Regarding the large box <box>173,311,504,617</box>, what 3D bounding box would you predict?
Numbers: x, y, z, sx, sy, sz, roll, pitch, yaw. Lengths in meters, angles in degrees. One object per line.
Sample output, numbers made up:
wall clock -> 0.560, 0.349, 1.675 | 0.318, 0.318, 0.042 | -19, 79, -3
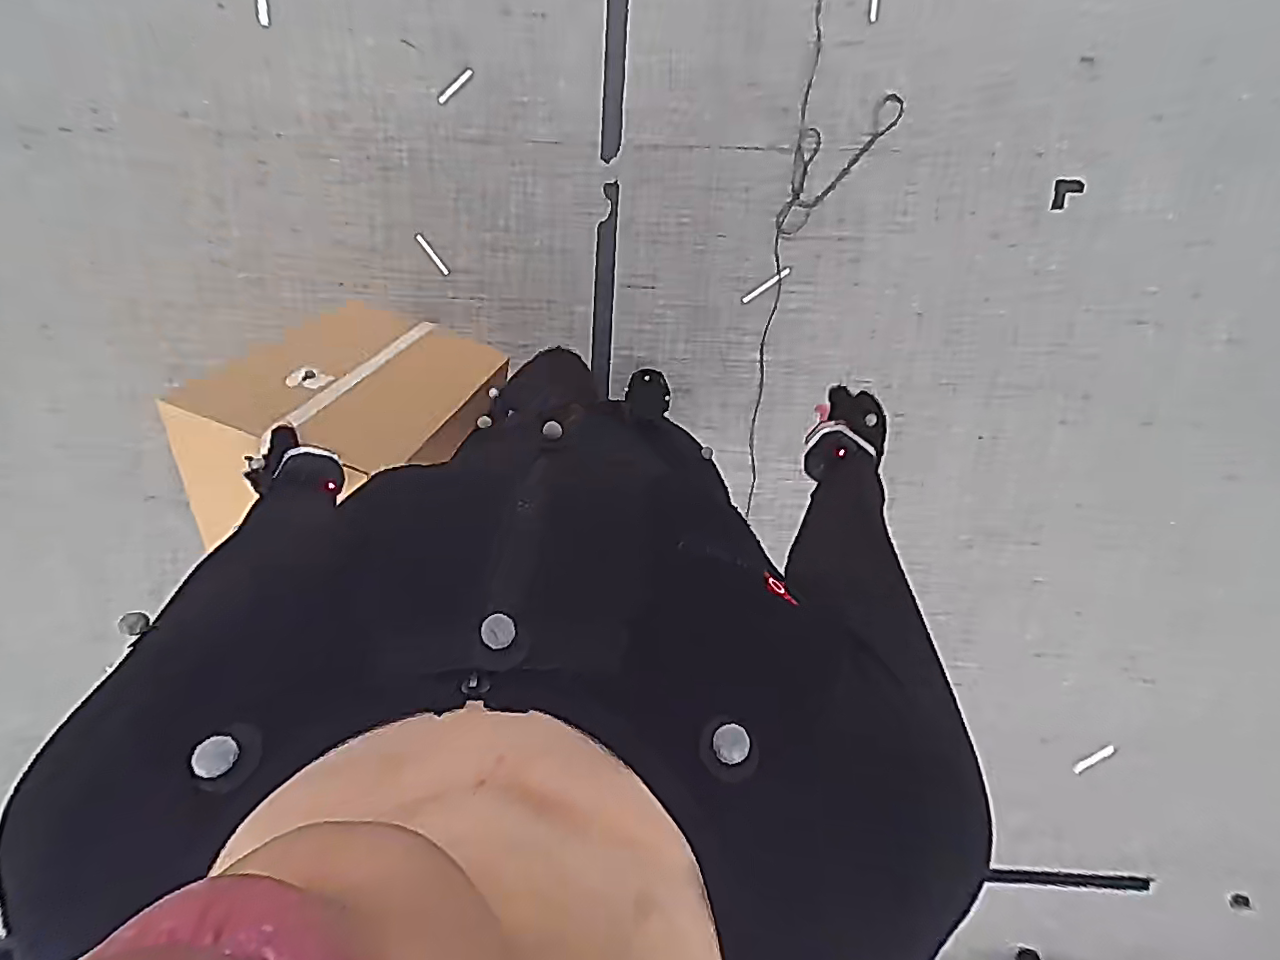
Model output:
large box -> -0.473, -0.043, 0.956 | 0.320, 0.408, 0.320 | 19, 128, 2
